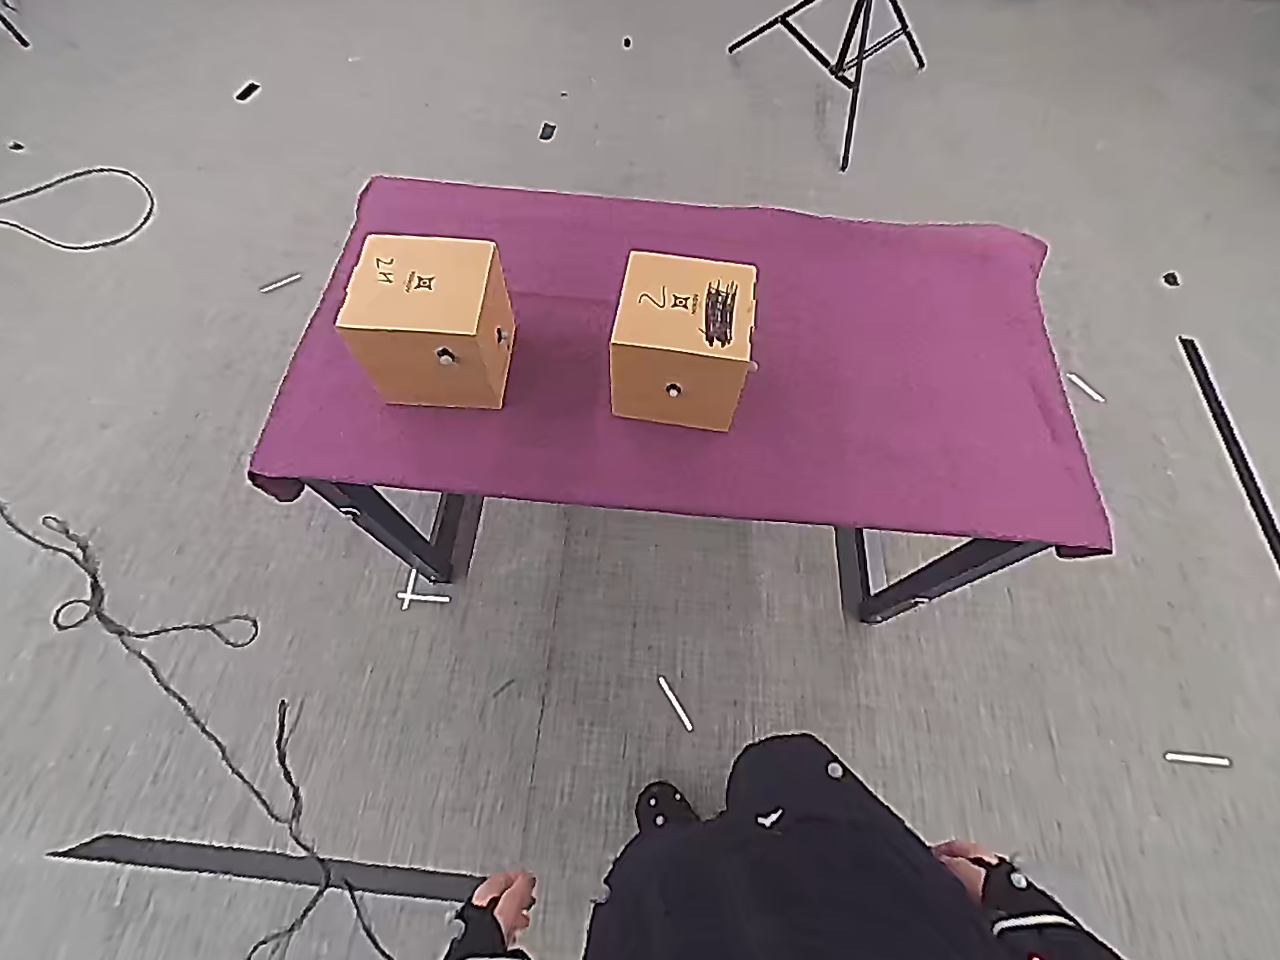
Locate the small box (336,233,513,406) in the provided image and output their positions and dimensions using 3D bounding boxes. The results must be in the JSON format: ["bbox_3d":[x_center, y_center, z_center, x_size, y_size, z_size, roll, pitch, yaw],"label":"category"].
[{"bbox_3d":[-0.286,-0.220,0.769,0.179,0.176,0.168,3,63,-1],"label":"small box"}]
